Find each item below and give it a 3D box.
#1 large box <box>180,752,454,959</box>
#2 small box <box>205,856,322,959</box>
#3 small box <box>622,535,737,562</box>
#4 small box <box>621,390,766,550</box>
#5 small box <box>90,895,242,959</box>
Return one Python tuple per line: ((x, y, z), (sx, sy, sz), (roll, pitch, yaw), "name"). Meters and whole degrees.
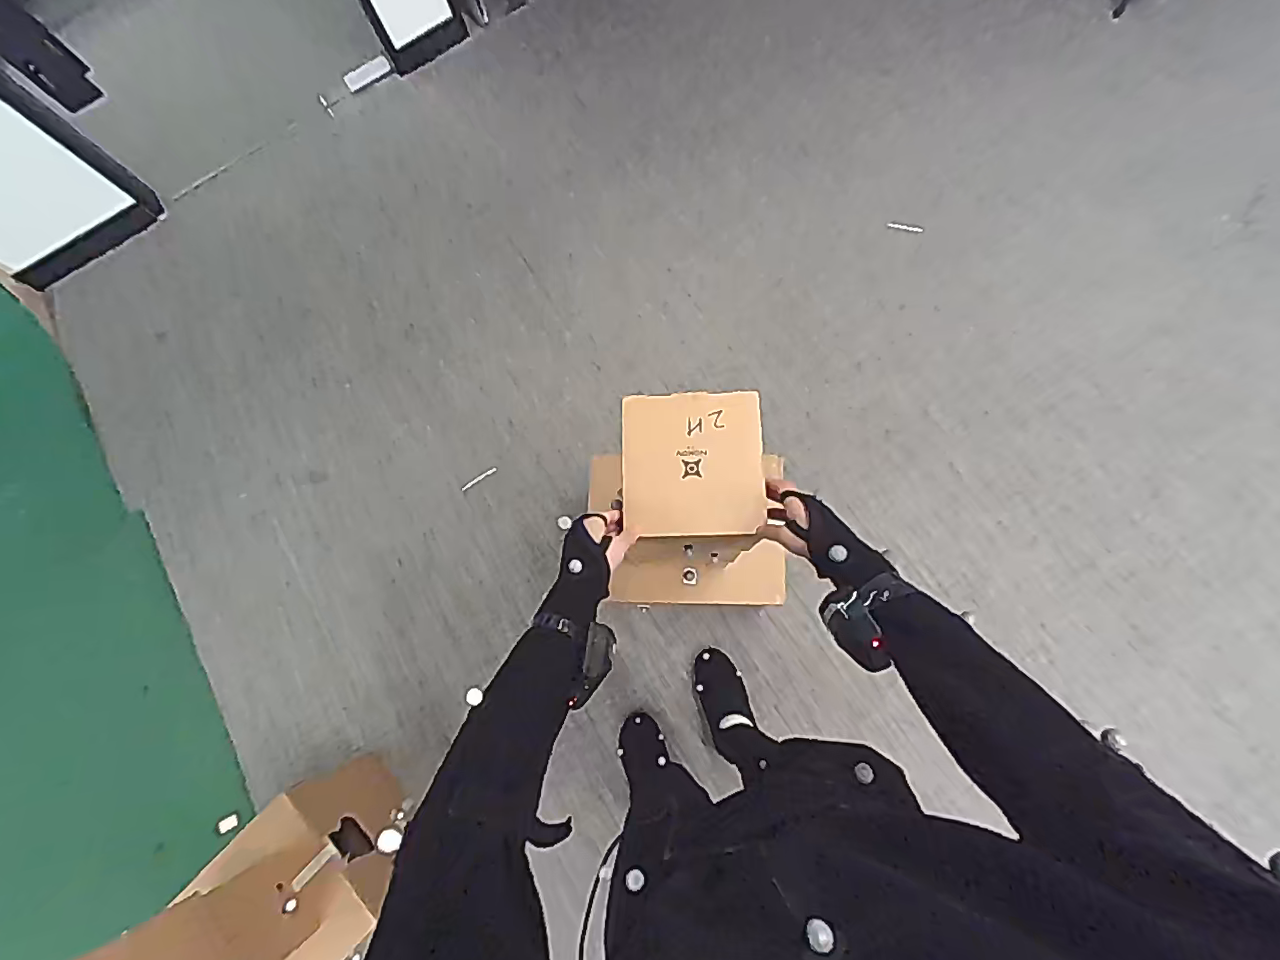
((-0.690, 0.880, 1.152), (0.320, 0.320, 0.408), (42, 85, 15), "large box")
((-0.697, 0.801, 0.919), (0.179, 0.176, 0.168), (-43, 77, -6), "small box")
((0.068, 0.041, 0.864), (0.179, 0.176, 0.168), (-2, 75, 4), "small box")
((0.066, -0.002, 0.704), (0.168, 0.176, 0.179), (-2, 76, 3), "small box")
((-0.708, 0.752, 0.763), (0.168, 0.176, 0.179), (-41, 76, -5), "small box")
